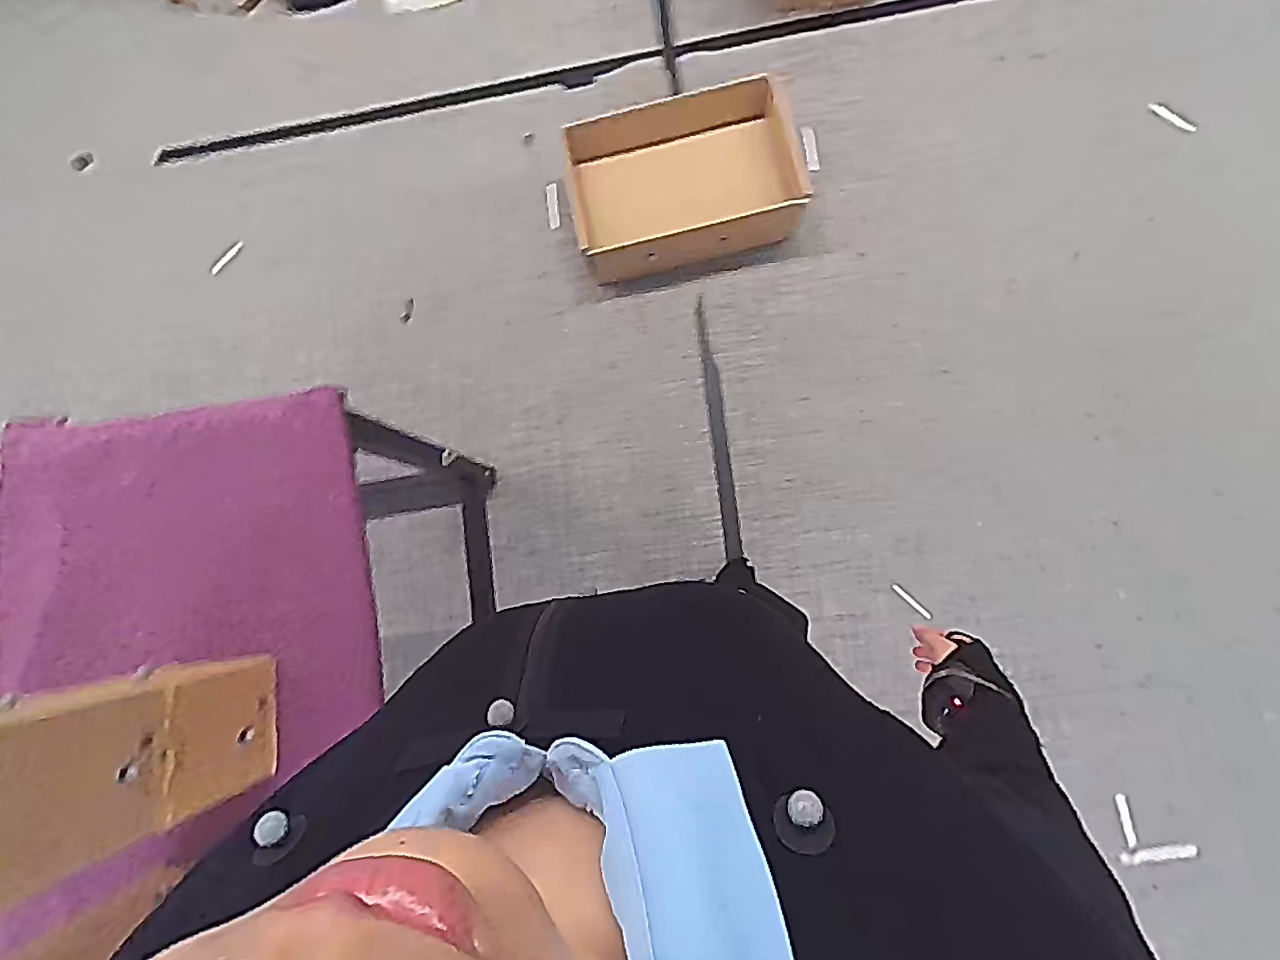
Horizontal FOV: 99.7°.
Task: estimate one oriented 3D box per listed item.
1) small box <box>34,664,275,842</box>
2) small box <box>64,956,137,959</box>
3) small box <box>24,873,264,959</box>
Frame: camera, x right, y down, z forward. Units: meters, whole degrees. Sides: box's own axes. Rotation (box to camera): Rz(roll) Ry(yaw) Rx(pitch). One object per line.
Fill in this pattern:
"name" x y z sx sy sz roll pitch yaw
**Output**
"small box" -0.634 0.353 0.726 0.179 0.176 0.168 -8 81 5
"small box" -0.635 0.609 0.522 0.179 0.176 0.168 -9 81 5
"small box" -0.612 0.631 0.683 0.168 0.176 0.179 -8 81 5
